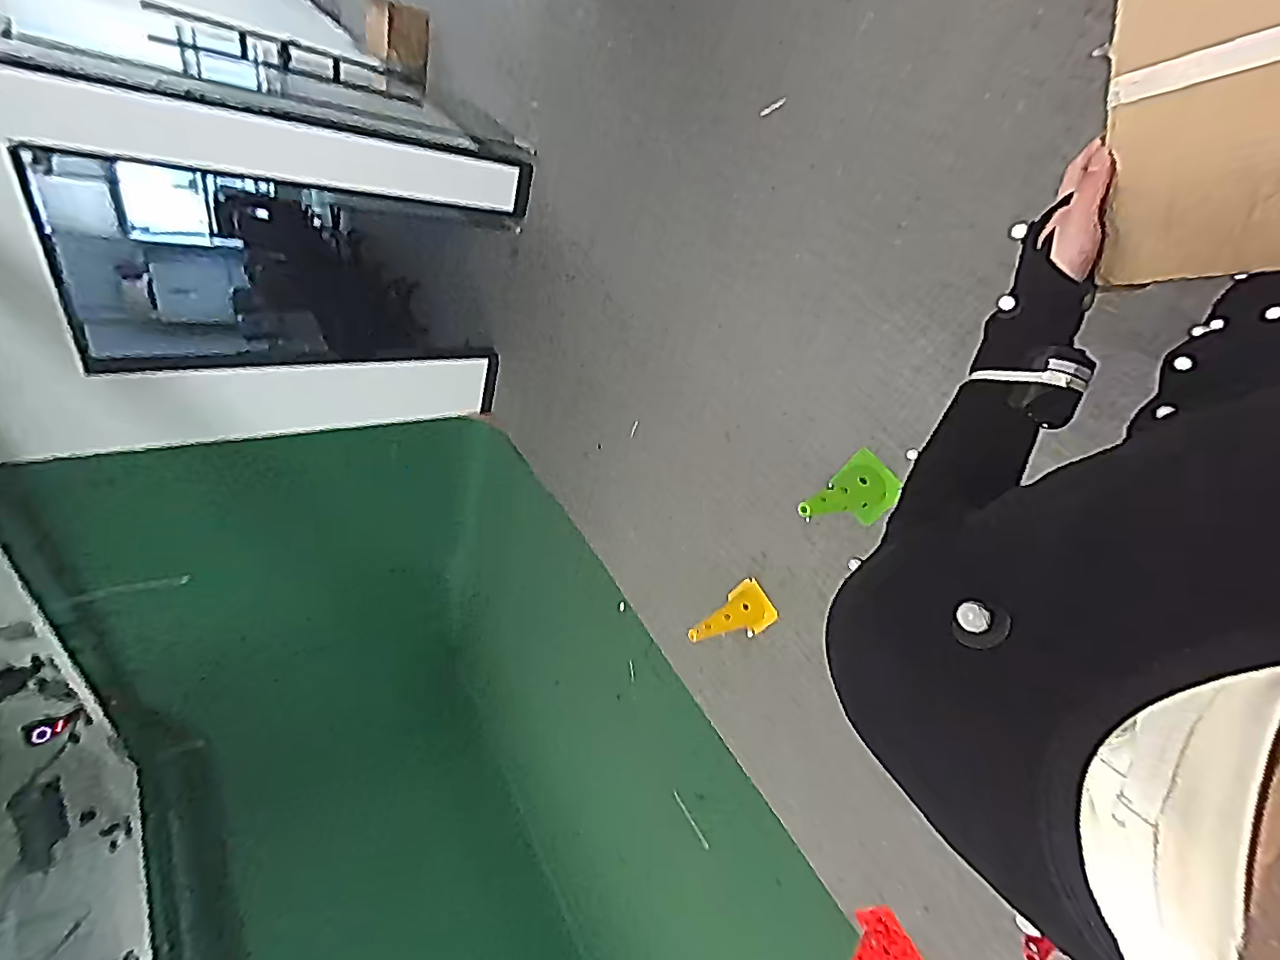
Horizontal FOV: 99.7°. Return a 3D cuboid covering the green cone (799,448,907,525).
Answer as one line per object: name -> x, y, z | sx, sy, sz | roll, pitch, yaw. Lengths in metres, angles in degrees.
green cone -> 0.622, 0.055, 1.683 | 0.200, 0.368, 0.202 | 55, 139, 27

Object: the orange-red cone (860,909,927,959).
orange-red cone -> 0.822, 1.750, 1.918 | 0.199, 0.360, 0.198 | 55, 138, 24

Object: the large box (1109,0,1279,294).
large box -> 0.643, -0.345, 0.401 | 0.408, 0.320, 0.320 | 9, 117, 48
